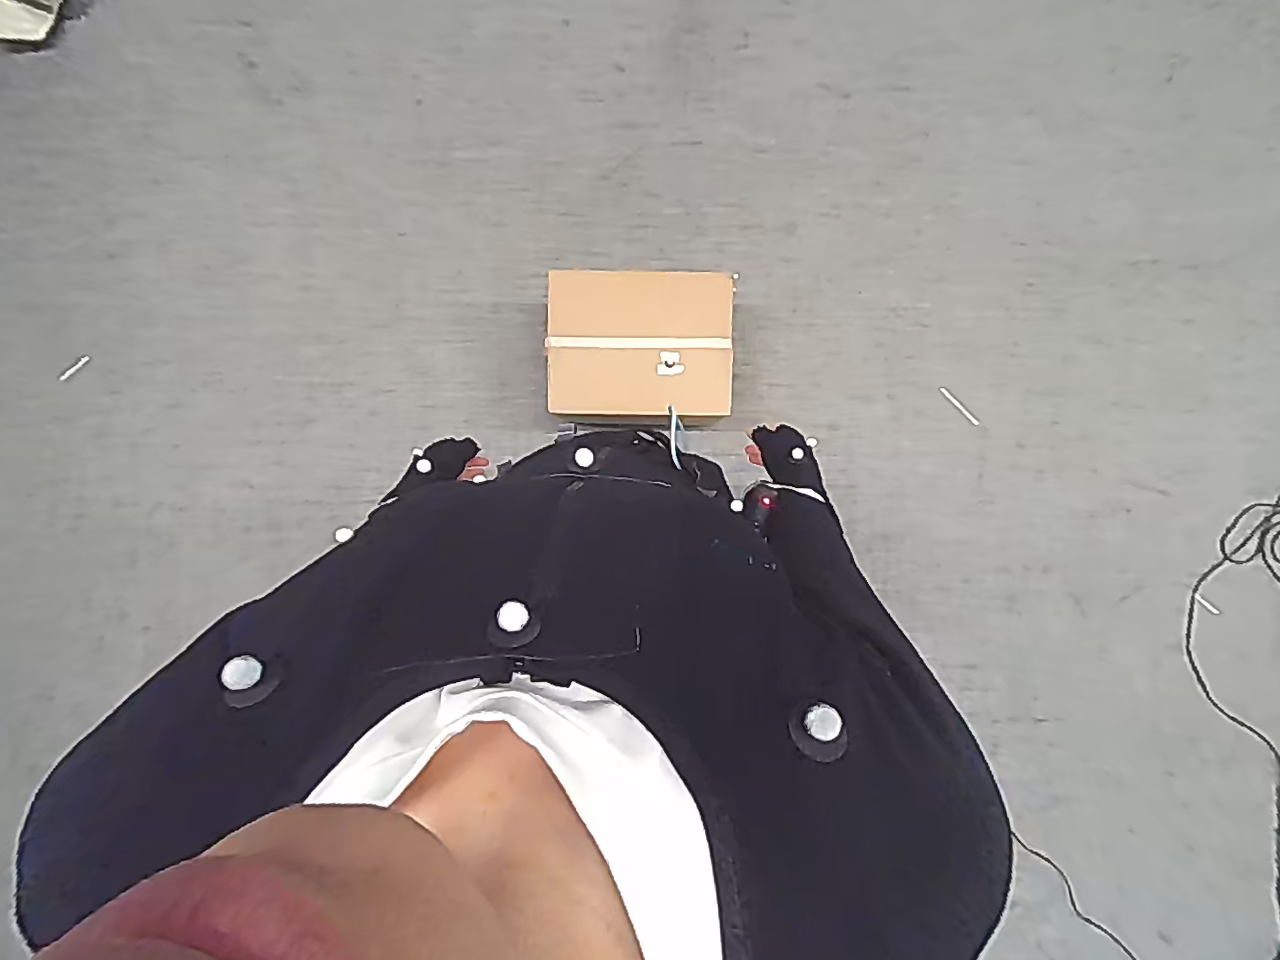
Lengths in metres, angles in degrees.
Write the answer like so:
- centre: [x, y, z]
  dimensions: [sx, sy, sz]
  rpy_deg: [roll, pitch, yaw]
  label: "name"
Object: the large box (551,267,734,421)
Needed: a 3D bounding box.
- centre: [0.003, -0.312, 1.325]
  dimensions: [0.408, 0.320, 0.320]
  rpy_deg: [1, 93, 0]
  label: "large box"
